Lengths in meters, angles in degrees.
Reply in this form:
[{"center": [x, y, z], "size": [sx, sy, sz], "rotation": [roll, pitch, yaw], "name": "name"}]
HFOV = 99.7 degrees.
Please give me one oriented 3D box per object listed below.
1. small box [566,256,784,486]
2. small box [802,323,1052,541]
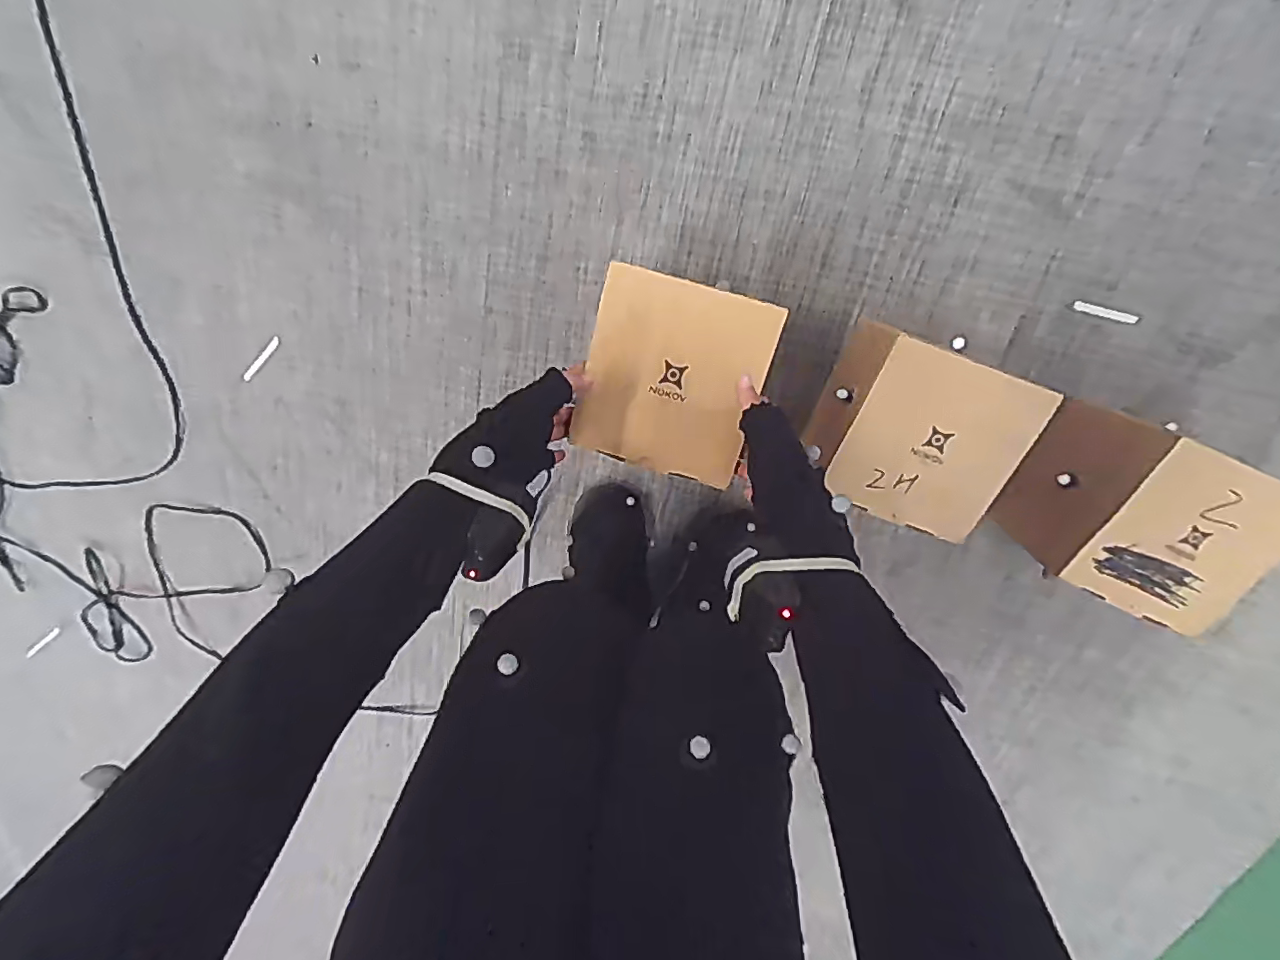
[{"center": [0.036, -0.117, 0.575], "size": [0.168, 0.176, 0.179], "rotation": [17, 106, 2], "name": "small box"}, {"center": [0.298, -0.066, 0.614], "size": [0.168, 0.176, 0.179], "rotation": [21, 114, 2], "name": "small box"}]
